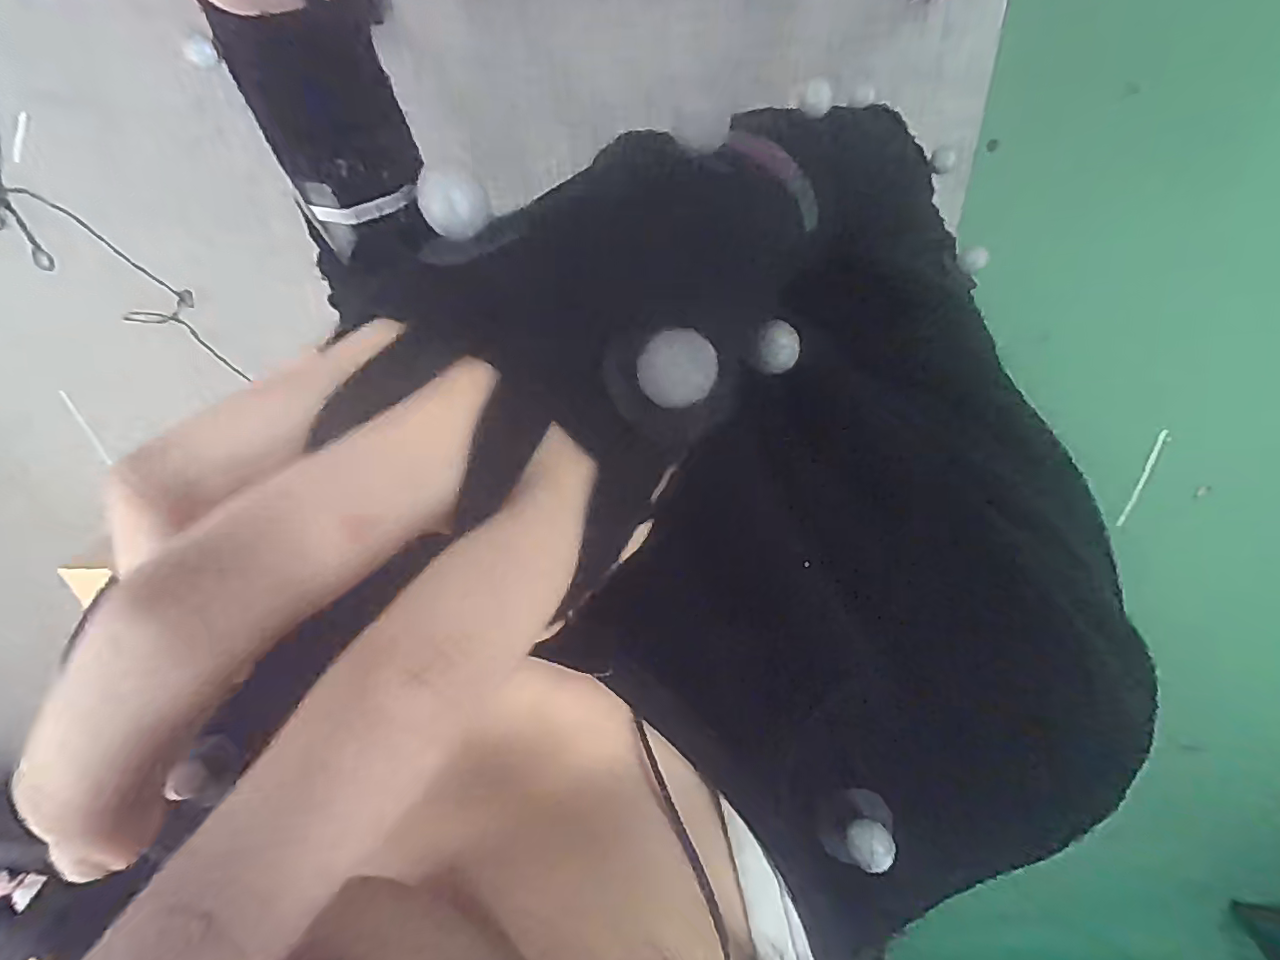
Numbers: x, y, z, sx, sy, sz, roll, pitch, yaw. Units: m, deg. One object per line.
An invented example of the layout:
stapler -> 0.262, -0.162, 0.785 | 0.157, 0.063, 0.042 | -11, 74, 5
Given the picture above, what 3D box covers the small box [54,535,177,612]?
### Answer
small box -> -1.594, 0.282, 1.657 | 0.179, 0.176, 0.168 | 0, 121, 5
